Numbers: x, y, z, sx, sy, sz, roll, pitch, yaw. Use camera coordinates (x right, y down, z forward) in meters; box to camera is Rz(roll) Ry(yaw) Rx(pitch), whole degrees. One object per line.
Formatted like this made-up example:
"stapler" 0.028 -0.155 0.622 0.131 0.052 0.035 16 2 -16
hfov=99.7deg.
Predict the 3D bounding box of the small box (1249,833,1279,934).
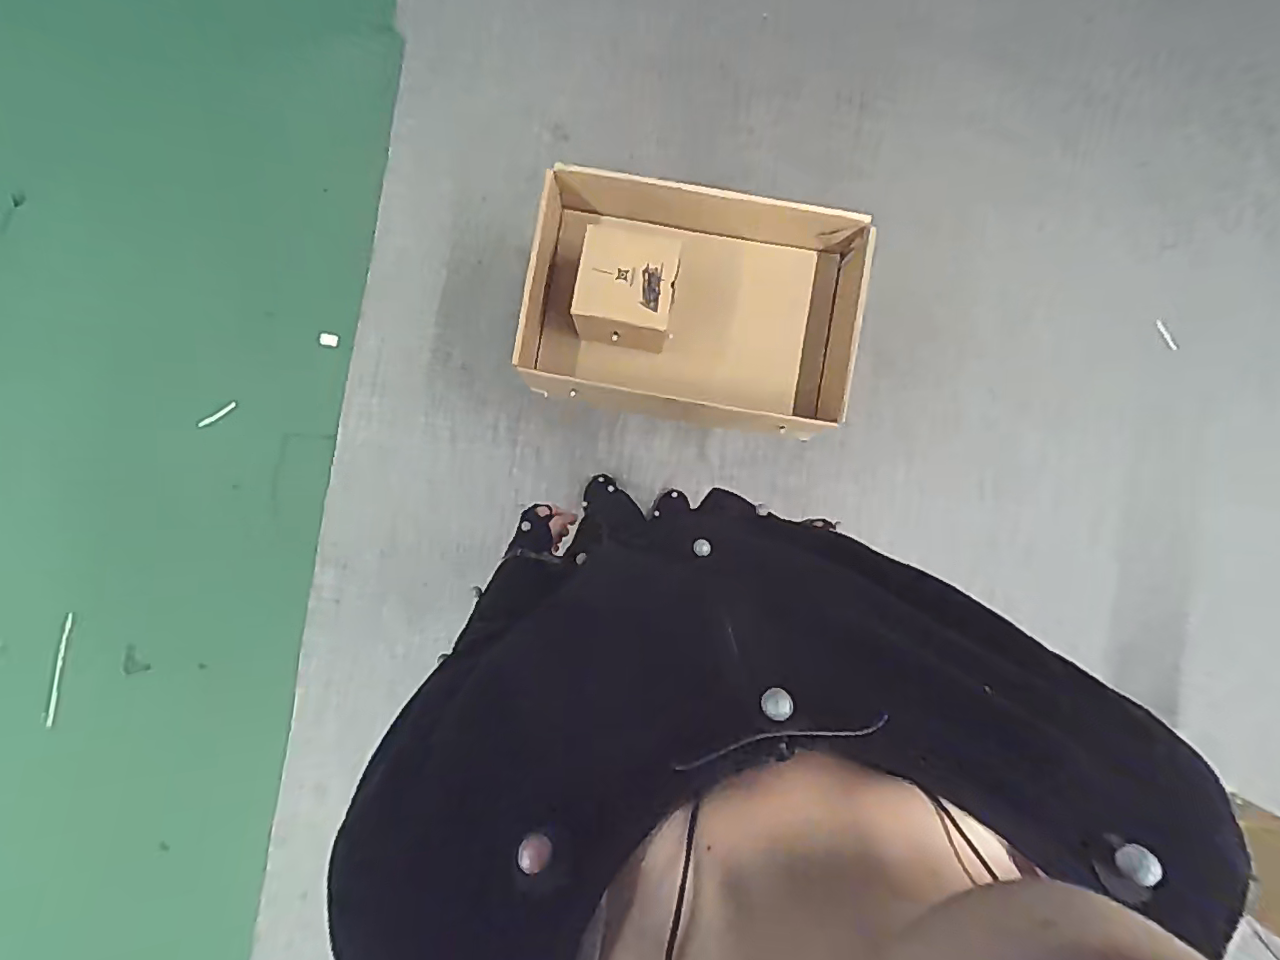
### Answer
"small box" 1.380 0.847 1.071 0.168 0.176 0.179 6 88 1

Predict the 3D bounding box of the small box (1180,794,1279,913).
"small box" 1.396 0.853 1.233 0.168 0.176 0.179 8 87 2

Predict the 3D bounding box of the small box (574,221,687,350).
"small box" -0.017 -0.357 1.028 0.179 0.176 0.168 11 88 0
